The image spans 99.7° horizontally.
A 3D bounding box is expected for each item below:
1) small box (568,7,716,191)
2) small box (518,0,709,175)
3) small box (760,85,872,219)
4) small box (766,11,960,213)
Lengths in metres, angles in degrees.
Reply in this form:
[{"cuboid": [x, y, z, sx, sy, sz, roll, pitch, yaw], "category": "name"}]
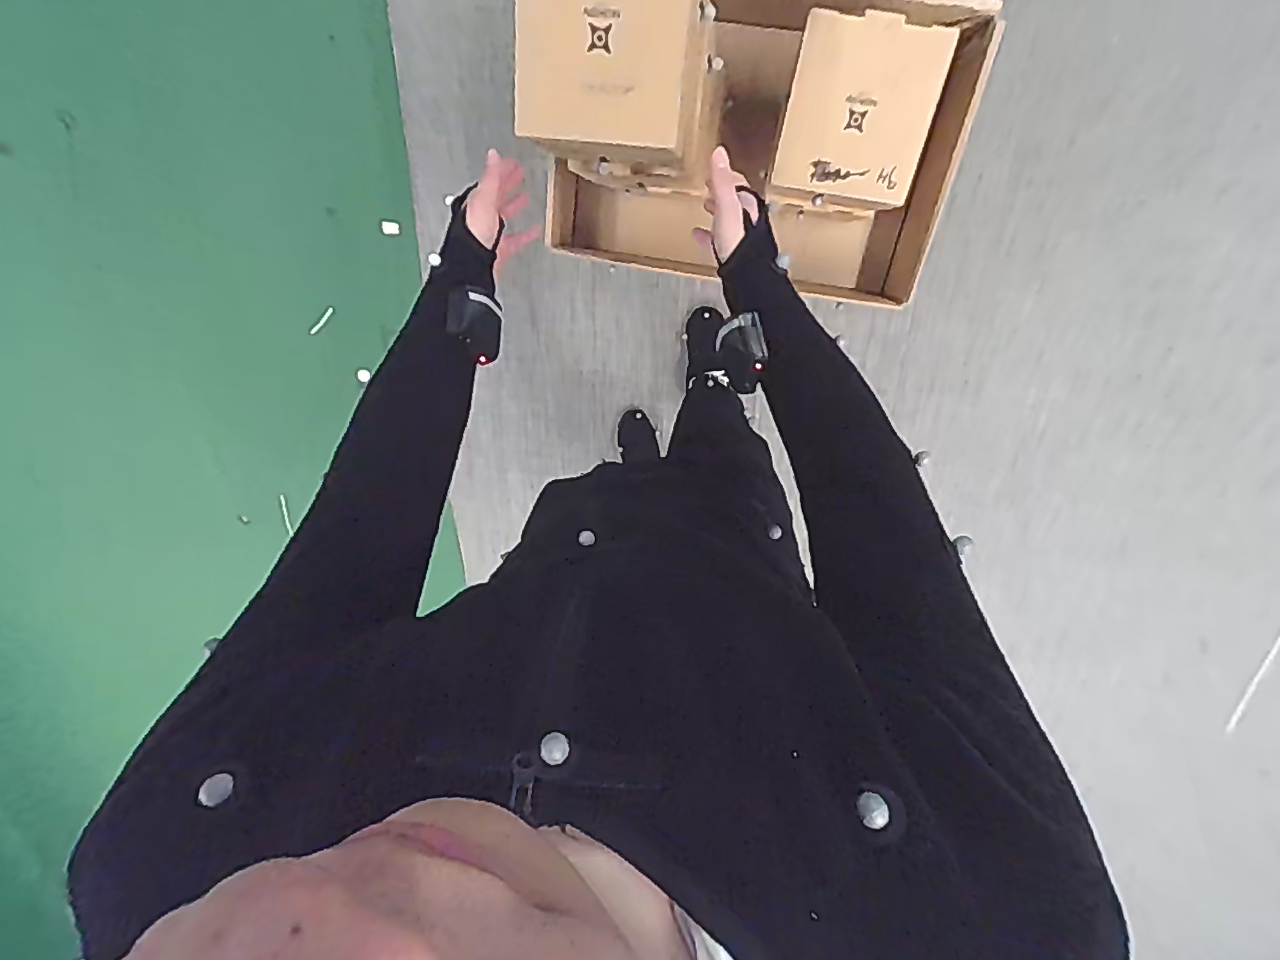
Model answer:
[{"cuboid": [0.007, -0.496, 0.720, 0.168, 0.176, 0.179, 8, 116, 6], "category": "small box"}, {"cuboid": [-0.020, -0.437, 0.570, 0.168, 0.176, 0.179, 9, 116, 5], "category": "small box"}, {"cuboid": [0.290, -0.518, 0.851, 0.168, 0.176, 0.179, 10, 117, 4], "category": "small box"}, {"cuboid": [0.267, -0.456, 0.700, 0.168, 0.176, 0.179, 12, 117, 3], "category": "small box"}]
